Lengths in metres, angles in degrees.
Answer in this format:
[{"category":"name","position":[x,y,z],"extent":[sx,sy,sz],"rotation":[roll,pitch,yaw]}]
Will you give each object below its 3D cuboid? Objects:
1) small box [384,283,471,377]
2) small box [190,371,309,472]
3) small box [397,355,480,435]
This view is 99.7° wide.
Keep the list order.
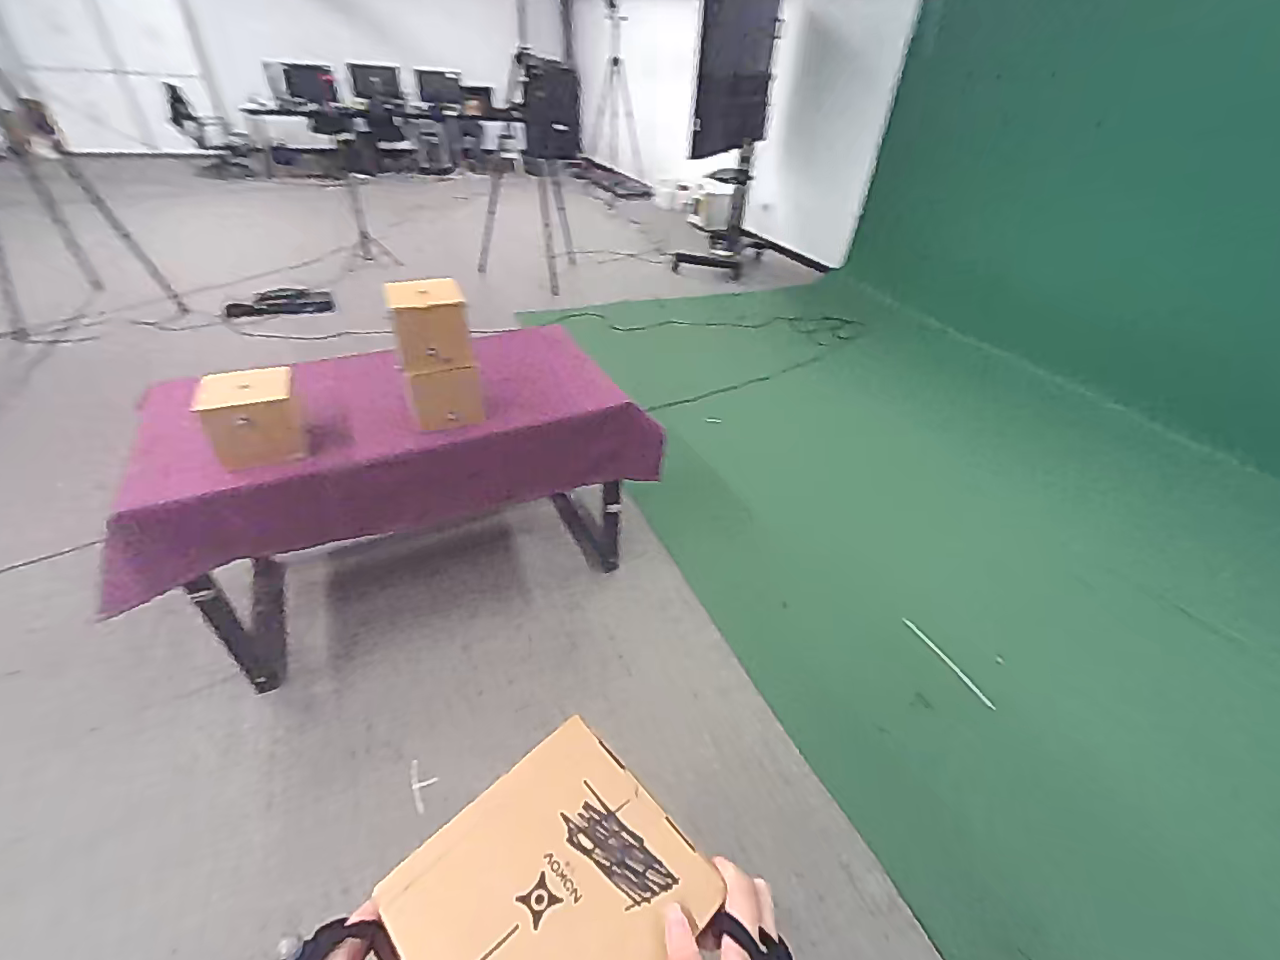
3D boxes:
[{"category":"small box","position":[-0.526,-0.374,1.342],"extent":[0.168,0.176,0.179],"rotation":[-14,42,-21]},{"category":"small box","position":[-0.901,-0.136,1.266],"extent":[0.179,0.176,0.168],"rotation":[-13,41,-22]},{"category":"small box","position":[-0.530,-0.240,1.435],"extent":[0.179,0.176,0.168],"rotation":[-14,41,-22]}]
